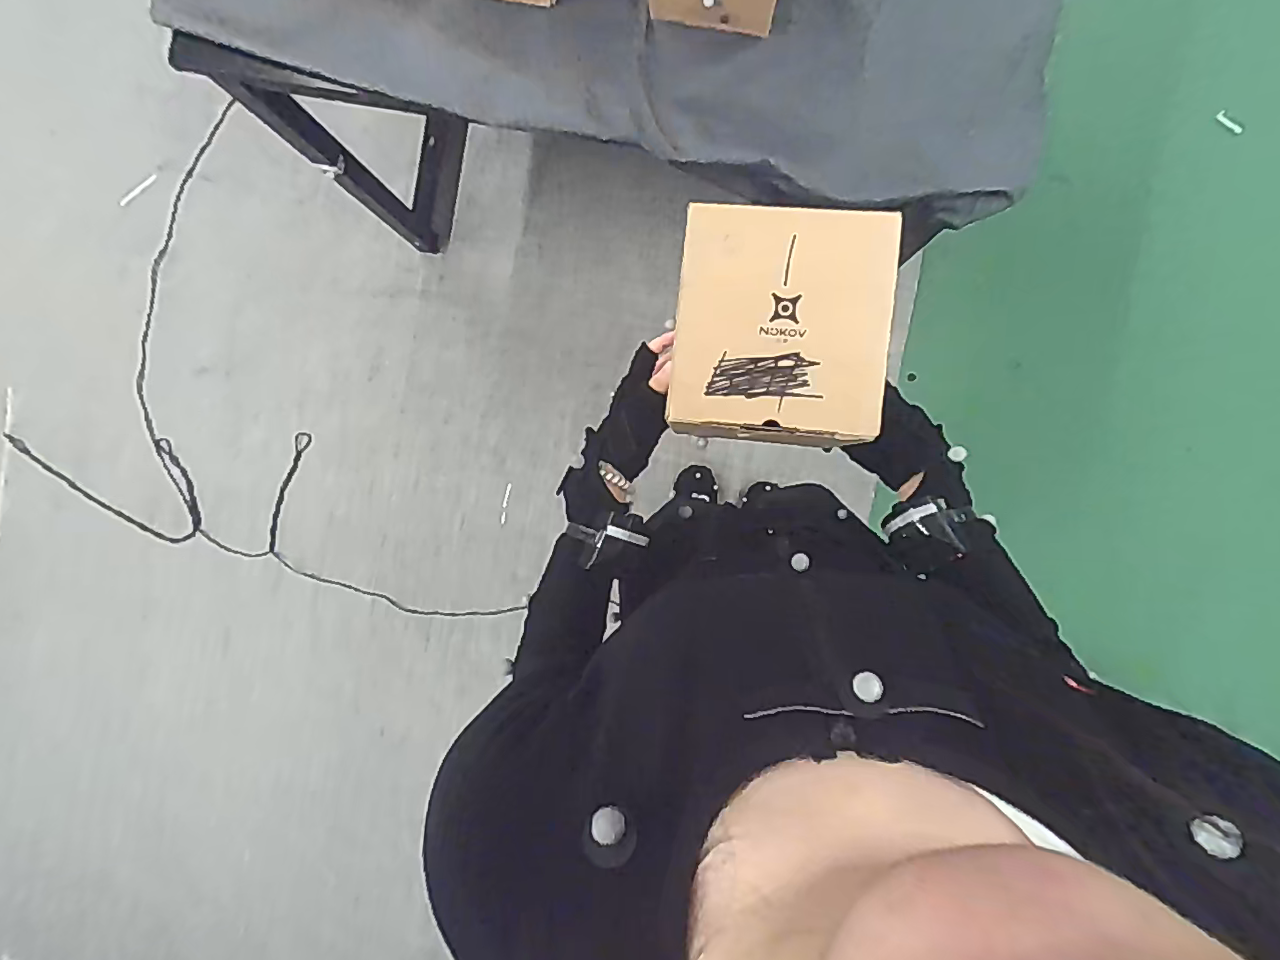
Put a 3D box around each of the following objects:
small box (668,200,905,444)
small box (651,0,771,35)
[{"bbox_3d":[0.120,-0.129,0.502,0.168,0.176,0.179,6,92,5],"label":"small box"},{"bbox_3d":[0.103,-0.703,0.655,0.168,0.176,0.179,12,92,3],"label":"small box"}]
